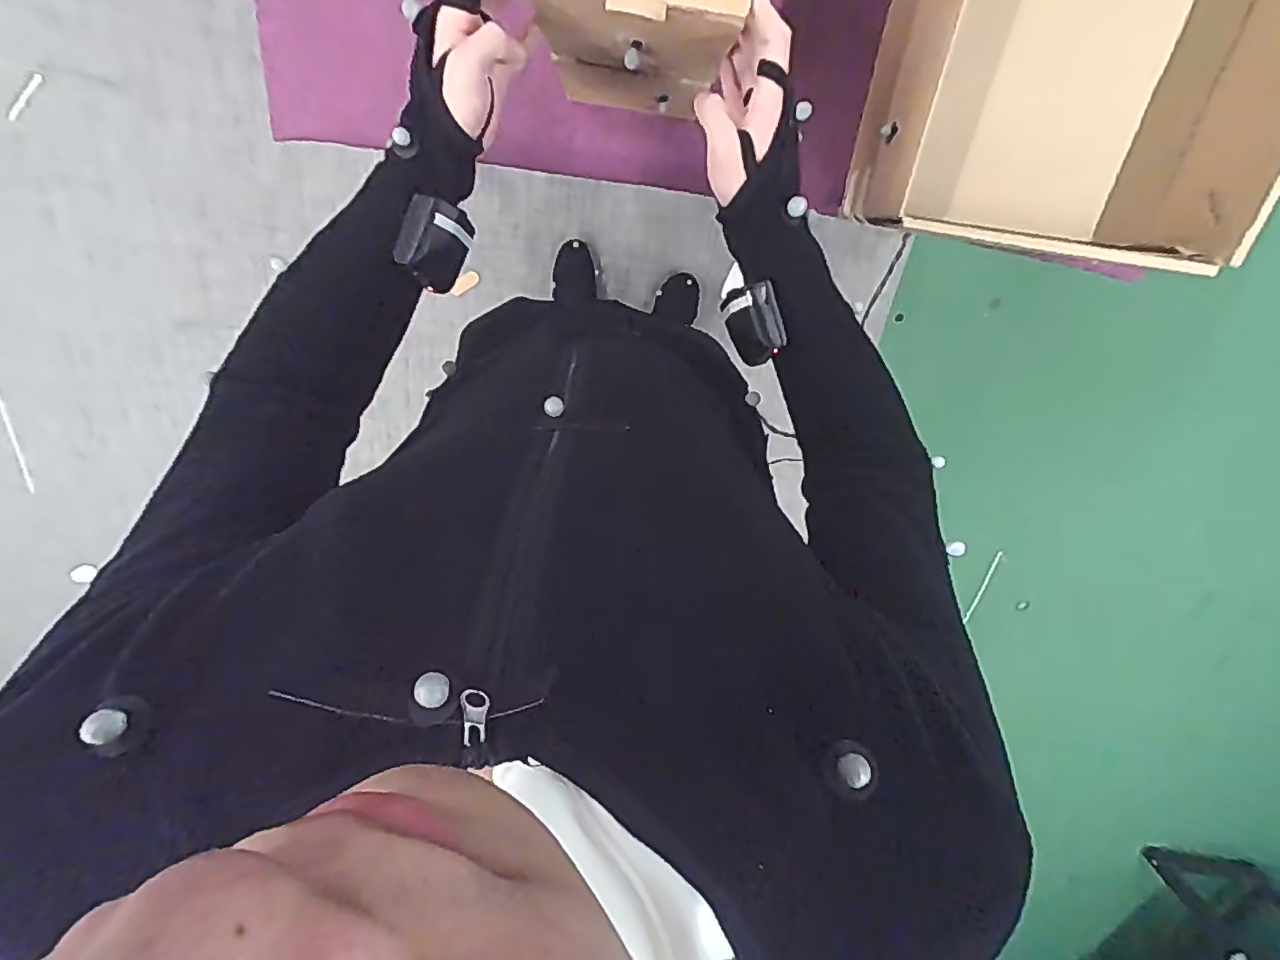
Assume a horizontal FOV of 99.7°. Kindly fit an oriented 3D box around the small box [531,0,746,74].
[{"bbox_3d":[0.008,-0.455,0.431,0.168,0.176,0.179,7,114,-4],"label":"small box"}]

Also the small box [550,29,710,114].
[{"bbox_3d":[0.003,-0.522,0.584,0.168,0.176,0.179,7,113,-5],"label":"small box"}]

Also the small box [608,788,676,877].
[{"bbox_3d":[0.008,1.183,1.822,0.179,0.176,0.168,-23,112,9],"label":"small box"}]
